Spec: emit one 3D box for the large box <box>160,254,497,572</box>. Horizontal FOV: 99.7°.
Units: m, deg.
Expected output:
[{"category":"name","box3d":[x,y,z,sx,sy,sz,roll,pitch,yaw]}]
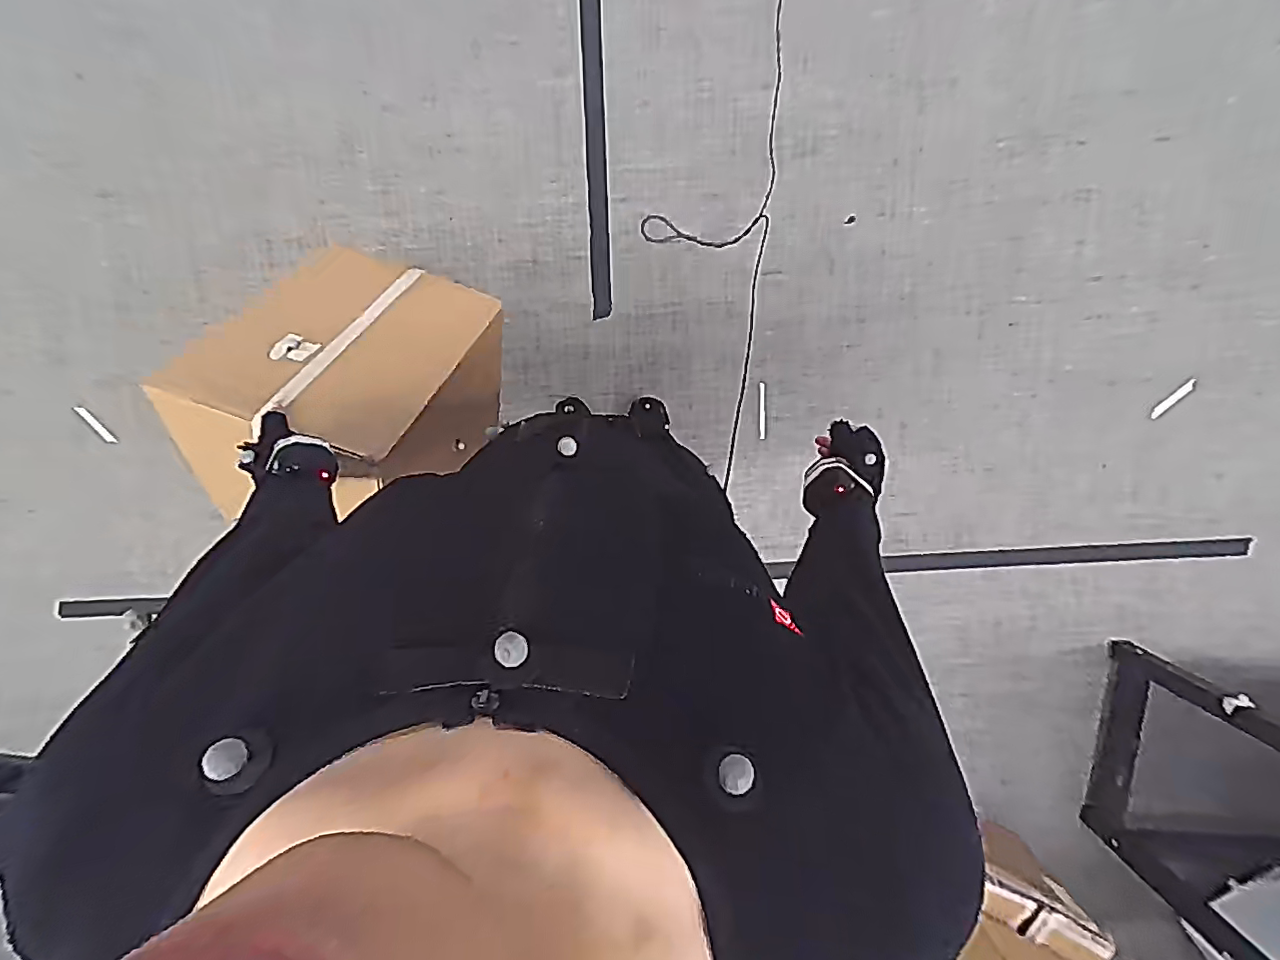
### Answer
[{"category":"large box","box3d":[-0.470,-0.118,0.942,0.320,0.408,0.320,18,140,0]}]
